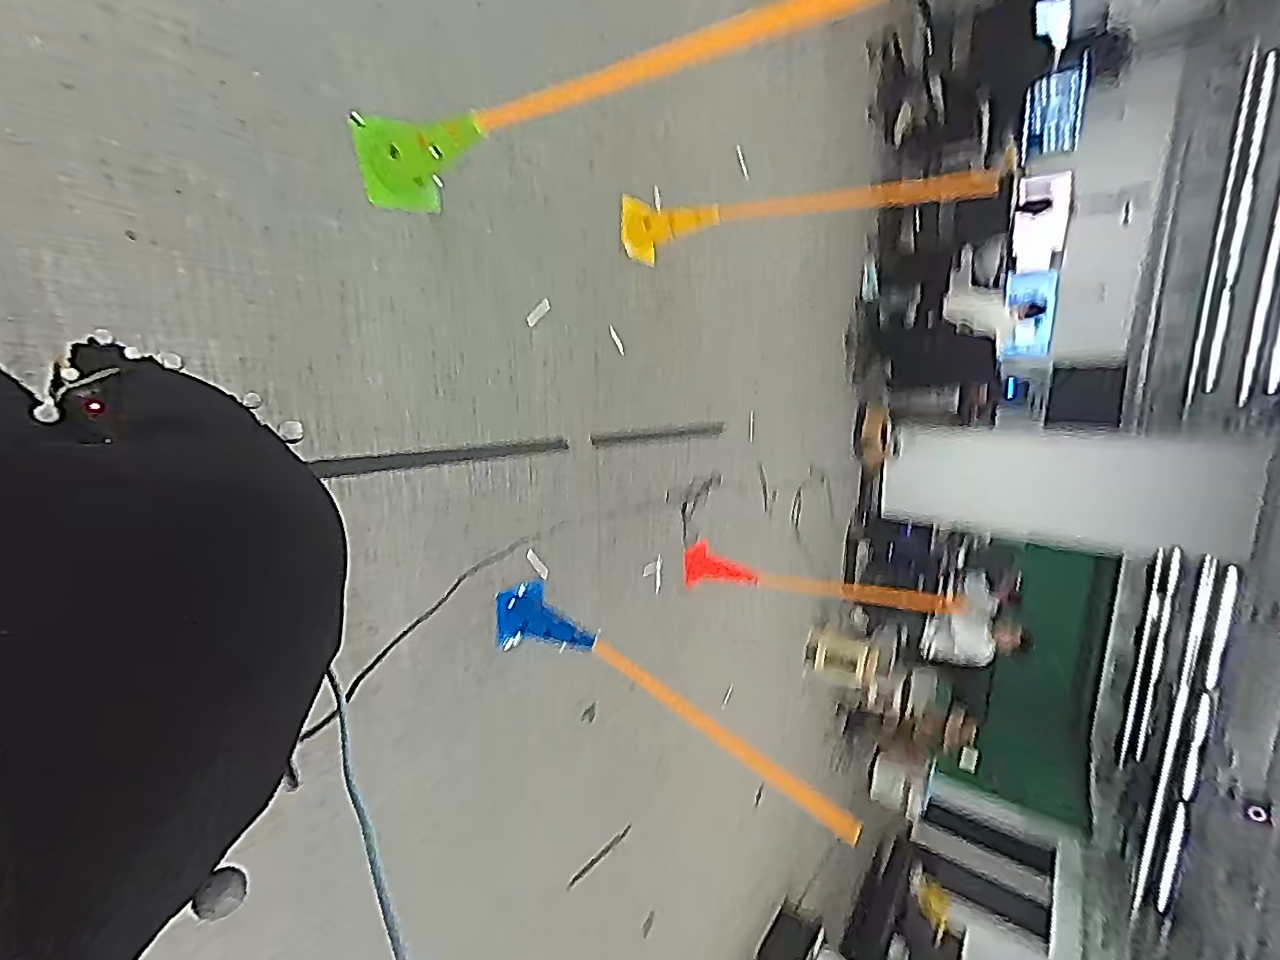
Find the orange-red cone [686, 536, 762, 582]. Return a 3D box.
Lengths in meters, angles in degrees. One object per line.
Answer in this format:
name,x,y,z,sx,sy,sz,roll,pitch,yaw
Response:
orange-red cone,0.424,0.416,2.628,0.198,0.360,0.199,-21,111,-49

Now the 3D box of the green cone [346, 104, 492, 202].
green cone,-0.477,-0.790,1.250,0.202,0.368,0.200,-29,119,-48

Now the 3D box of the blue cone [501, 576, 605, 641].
blue cone,-0.273,0.458,1.764,0.192,0.380,0.193,-9,104,-52
